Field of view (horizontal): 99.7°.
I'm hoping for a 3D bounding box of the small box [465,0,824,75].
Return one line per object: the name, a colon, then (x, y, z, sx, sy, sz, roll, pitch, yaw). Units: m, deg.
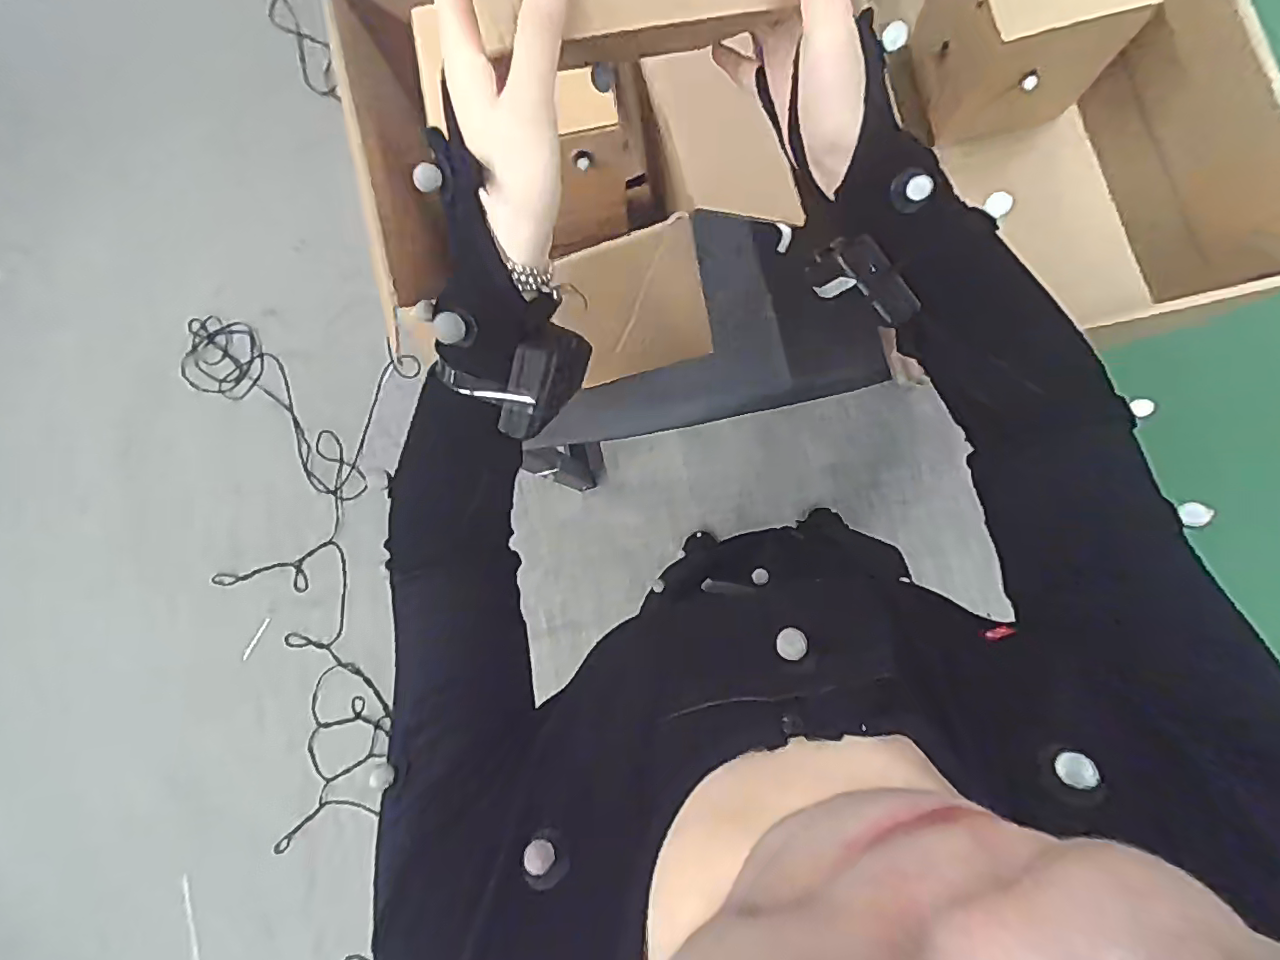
small box: (-0.019, -0.322, 0.267, 0.168, 0.176, 0.179, -15, 128, -8)
